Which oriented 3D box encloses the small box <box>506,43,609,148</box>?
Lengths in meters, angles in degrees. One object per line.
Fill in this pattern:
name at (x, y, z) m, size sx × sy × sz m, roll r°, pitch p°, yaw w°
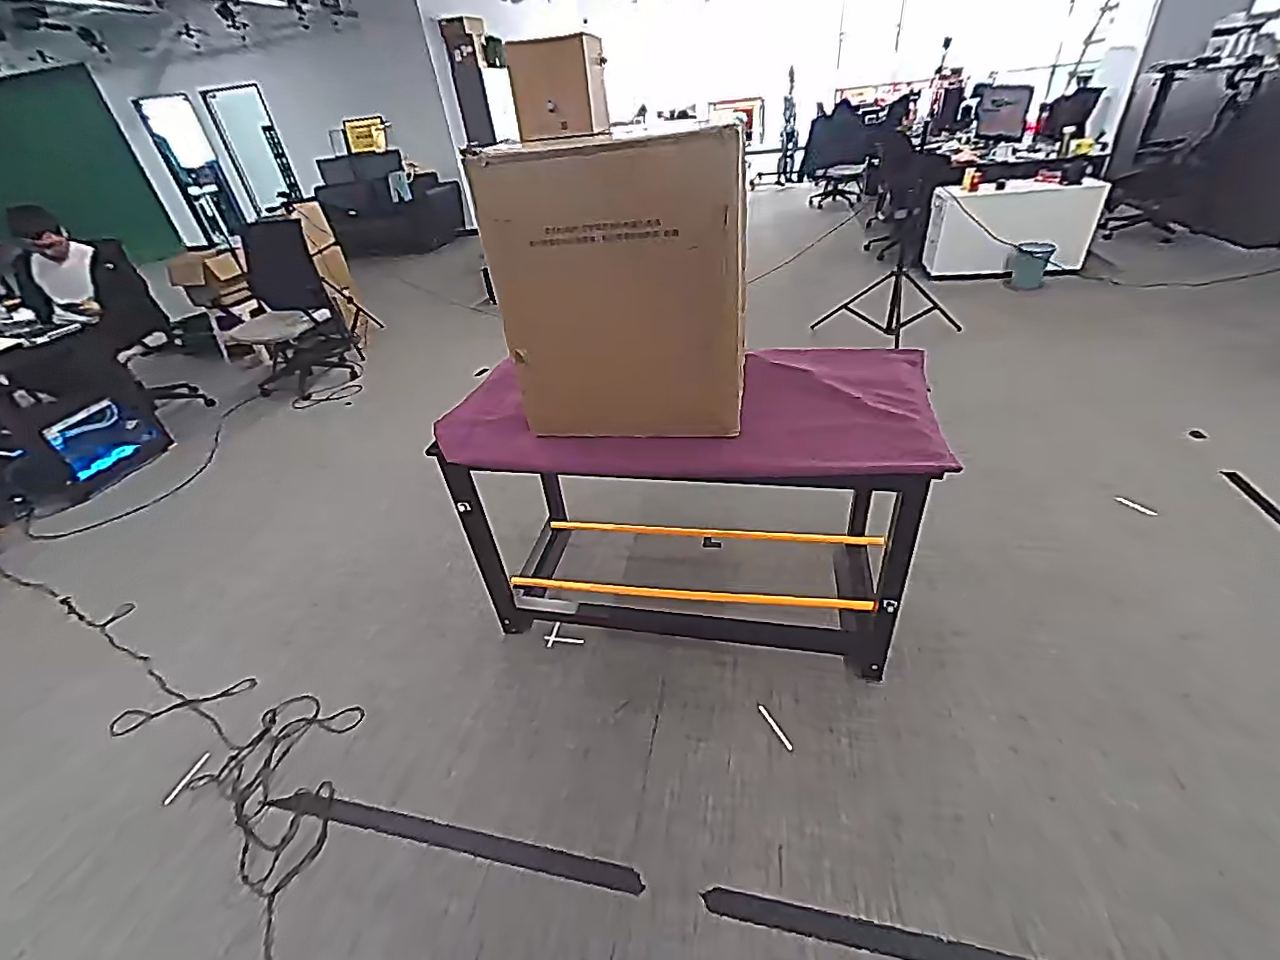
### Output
small box at (-0.167, -0.829, 1.174) m, size 0.168 × 0.176 × 0.179 m, roll 1°, pitch 36°, yaw 12°
